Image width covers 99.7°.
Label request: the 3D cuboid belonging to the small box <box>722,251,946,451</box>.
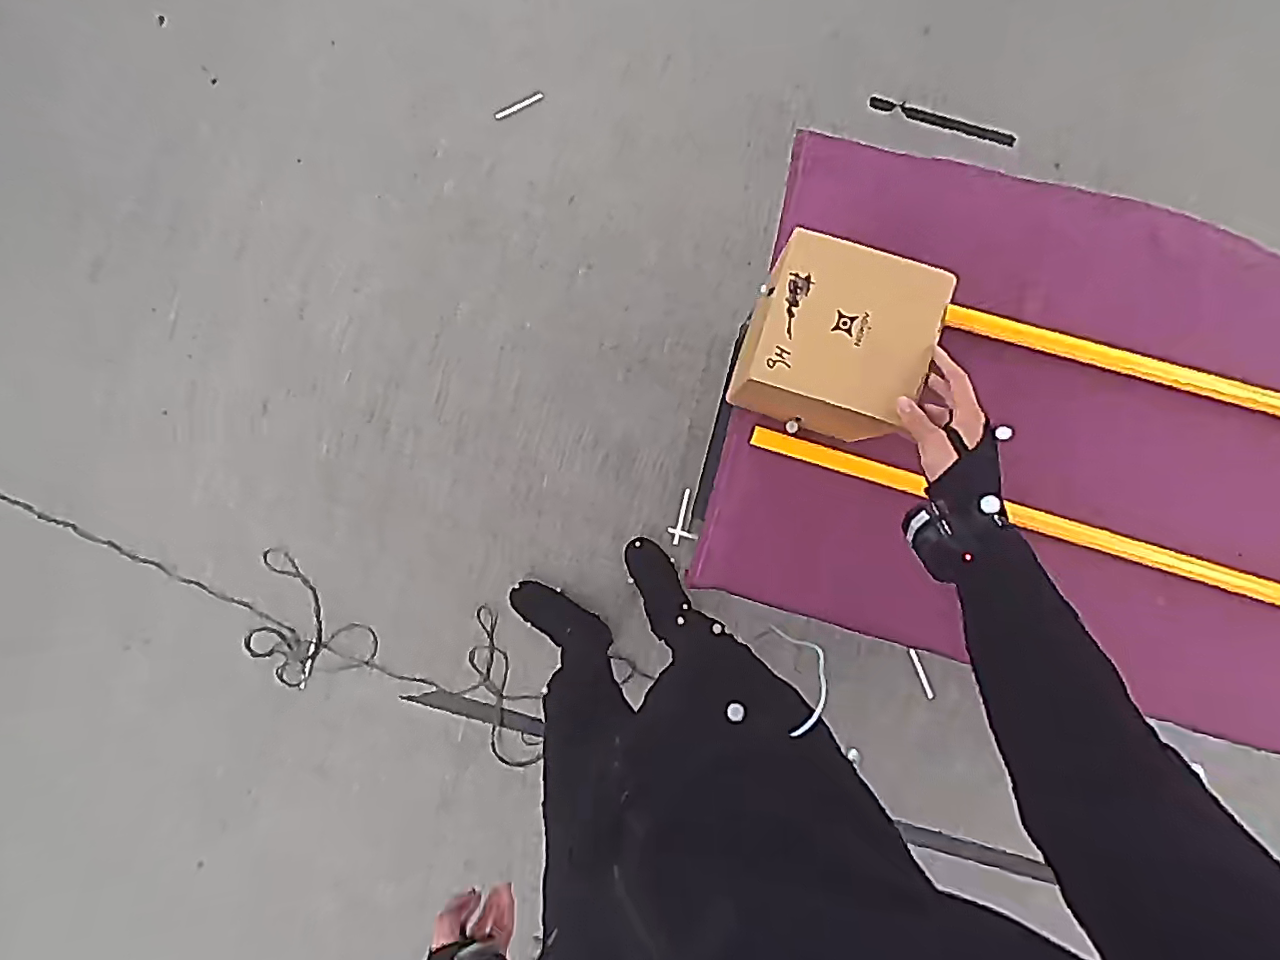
[{"bbox_3d":[0.212,-0.136,0.640,0.179,0.176,0.168,18,90,1],"label":"small box"}]
